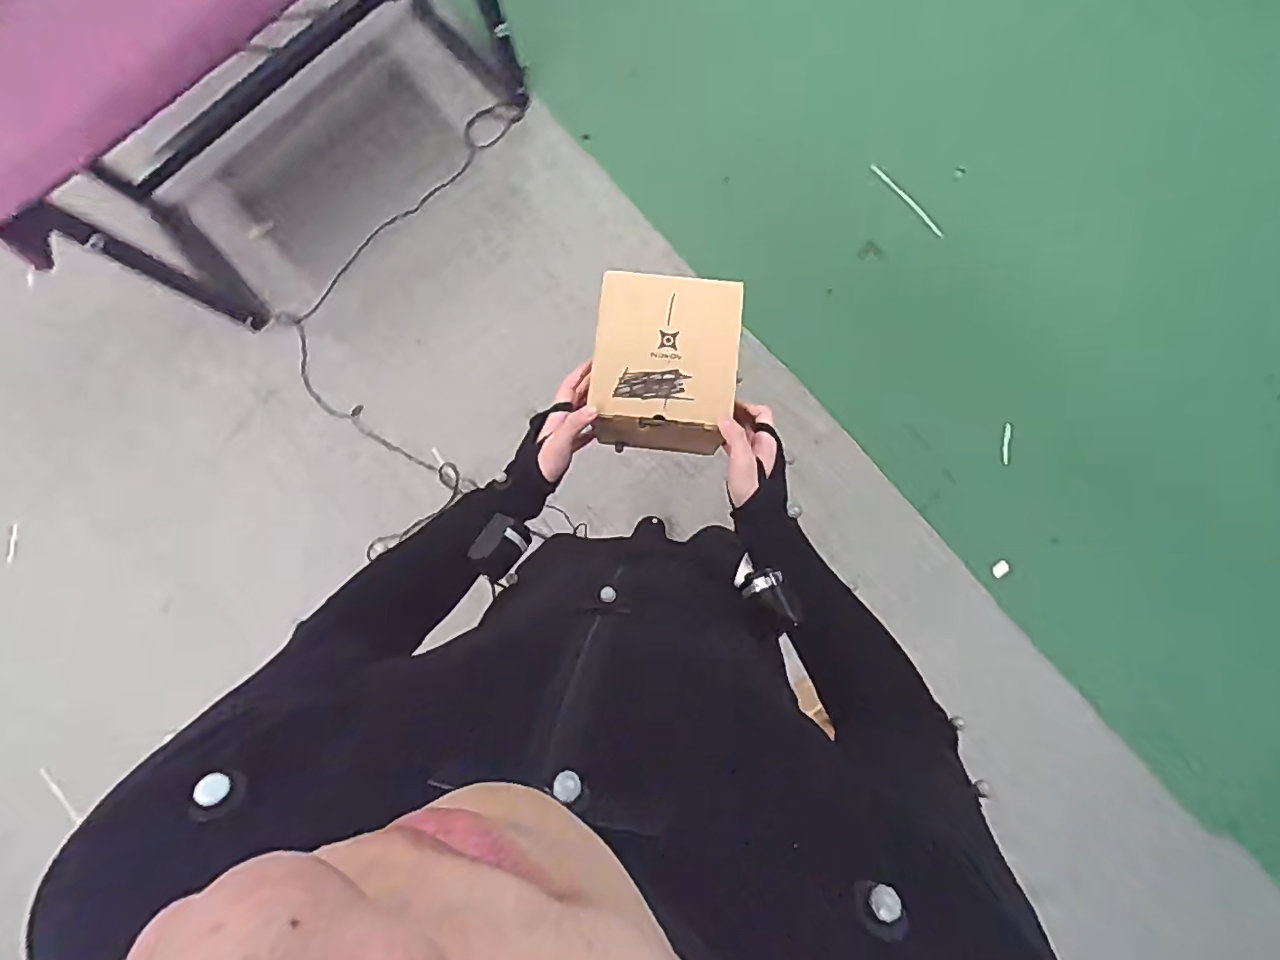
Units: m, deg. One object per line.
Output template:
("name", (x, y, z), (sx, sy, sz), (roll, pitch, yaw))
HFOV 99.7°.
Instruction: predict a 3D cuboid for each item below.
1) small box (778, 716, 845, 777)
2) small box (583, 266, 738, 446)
("small box", (0.495, 0.769, 1.438), (0.168, 0.176, 0.179), (-37, 86, -2))
("small box", (0.026, -0.144, 0.688), (0.168, 0.176, 0.179), (5, 82, 1))
